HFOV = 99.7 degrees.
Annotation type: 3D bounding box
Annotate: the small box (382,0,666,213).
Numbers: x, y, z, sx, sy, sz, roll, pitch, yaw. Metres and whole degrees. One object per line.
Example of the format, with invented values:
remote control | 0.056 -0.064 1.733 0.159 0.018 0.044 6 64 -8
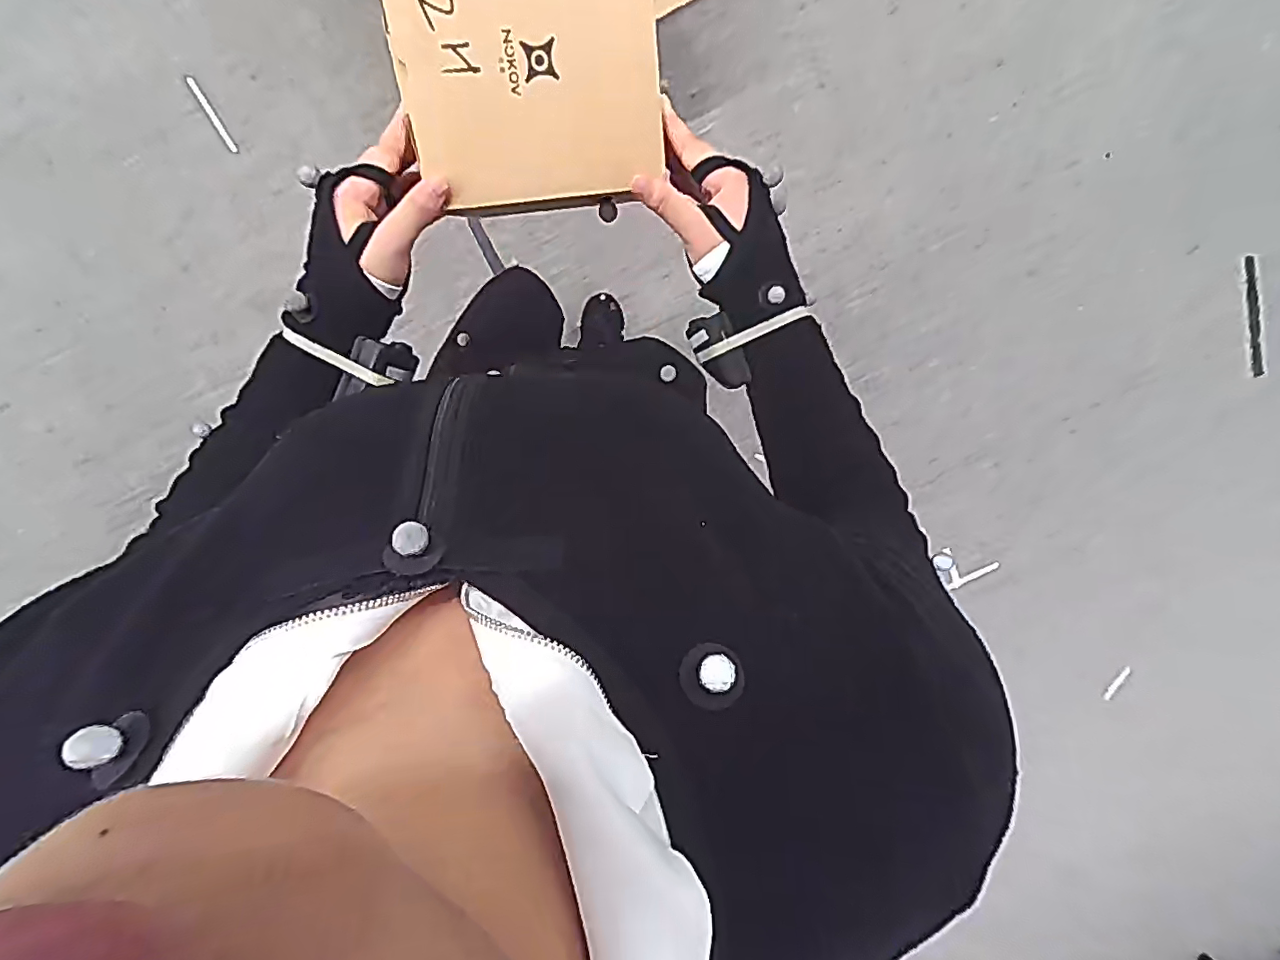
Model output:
small box | -0.078 -0.313 0.431 0.179 0.176 0.168 -6 115 0
